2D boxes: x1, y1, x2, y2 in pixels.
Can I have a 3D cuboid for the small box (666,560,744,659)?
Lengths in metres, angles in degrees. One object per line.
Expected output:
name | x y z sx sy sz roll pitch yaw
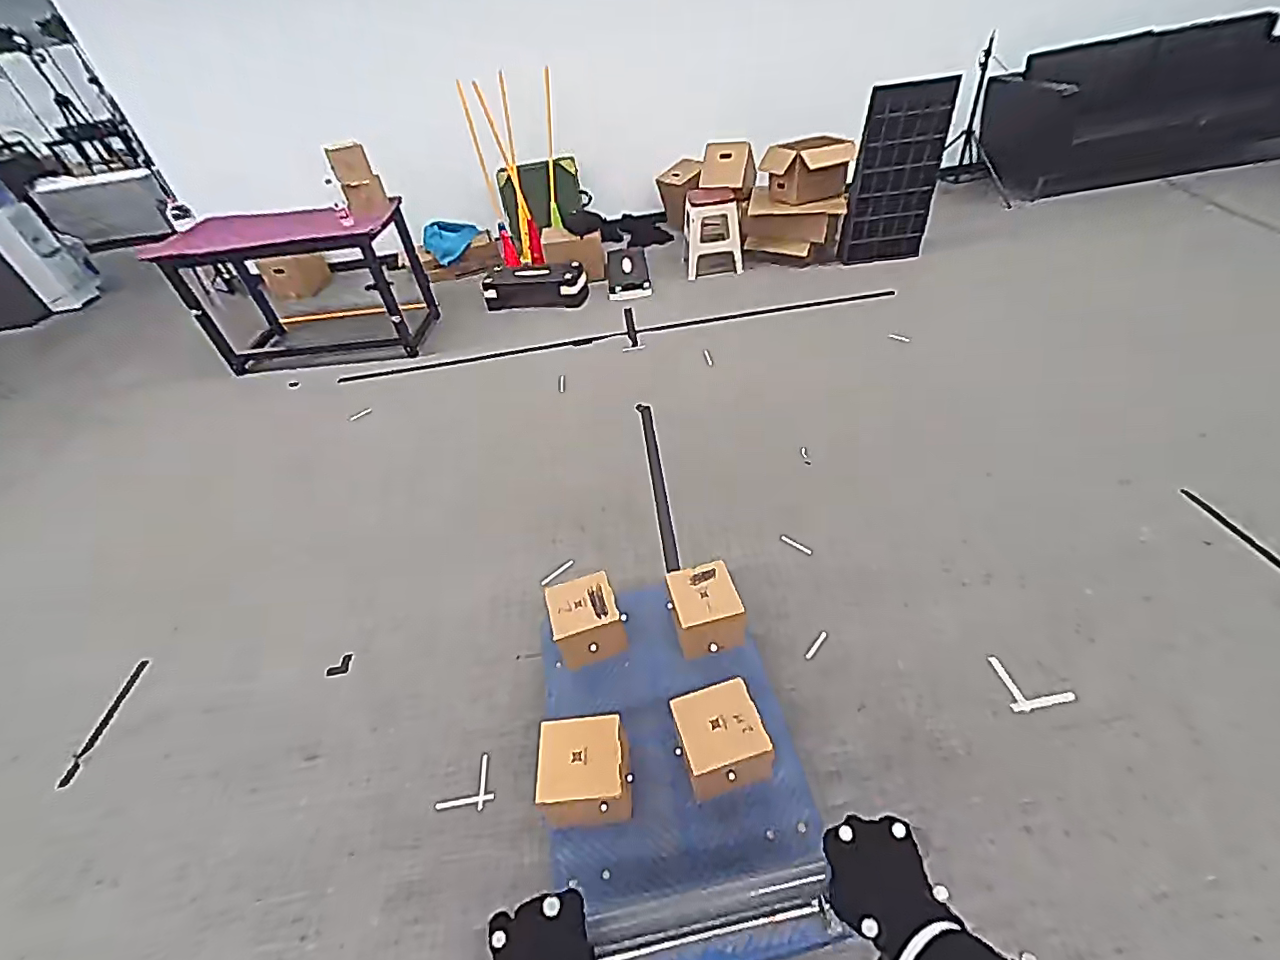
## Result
small box | 0.171 0.348 1.453 0.168 0.176 0.179 -14 43 -5

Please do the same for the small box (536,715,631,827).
small box | -0.119 0.641 1.187 0.179 0.176 0.168 -7 42 1

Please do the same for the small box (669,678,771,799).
small box | 0.177 0.578 1.203 0.179 0.176 0.168 -16 43 -7
